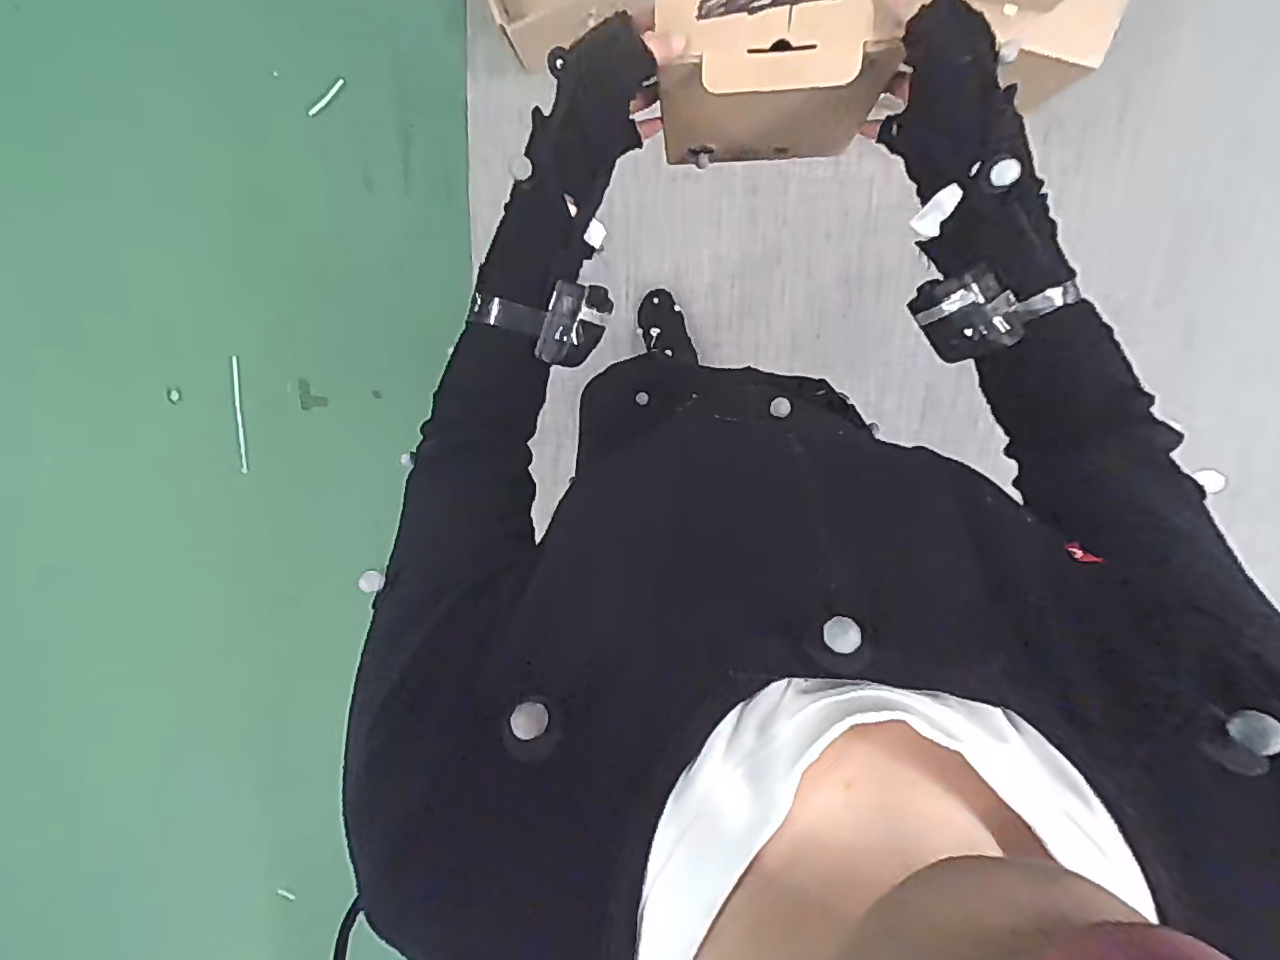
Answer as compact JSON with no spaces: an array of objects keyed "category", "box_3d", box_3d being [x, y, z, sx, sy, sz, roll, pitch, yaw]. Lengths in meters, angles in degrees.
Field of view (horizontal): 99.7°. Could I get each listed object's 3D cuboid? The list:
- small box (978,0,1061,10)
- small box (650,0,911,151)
[{"category":"small box","box_3d":[0.630,-0.869,0.826,0.179,0.176,0.168,10,104,2]},{"category":"small box","box_3d":[0.096,-0.376,0.413,0.168,0.176,0.179,0,98,6]}]
